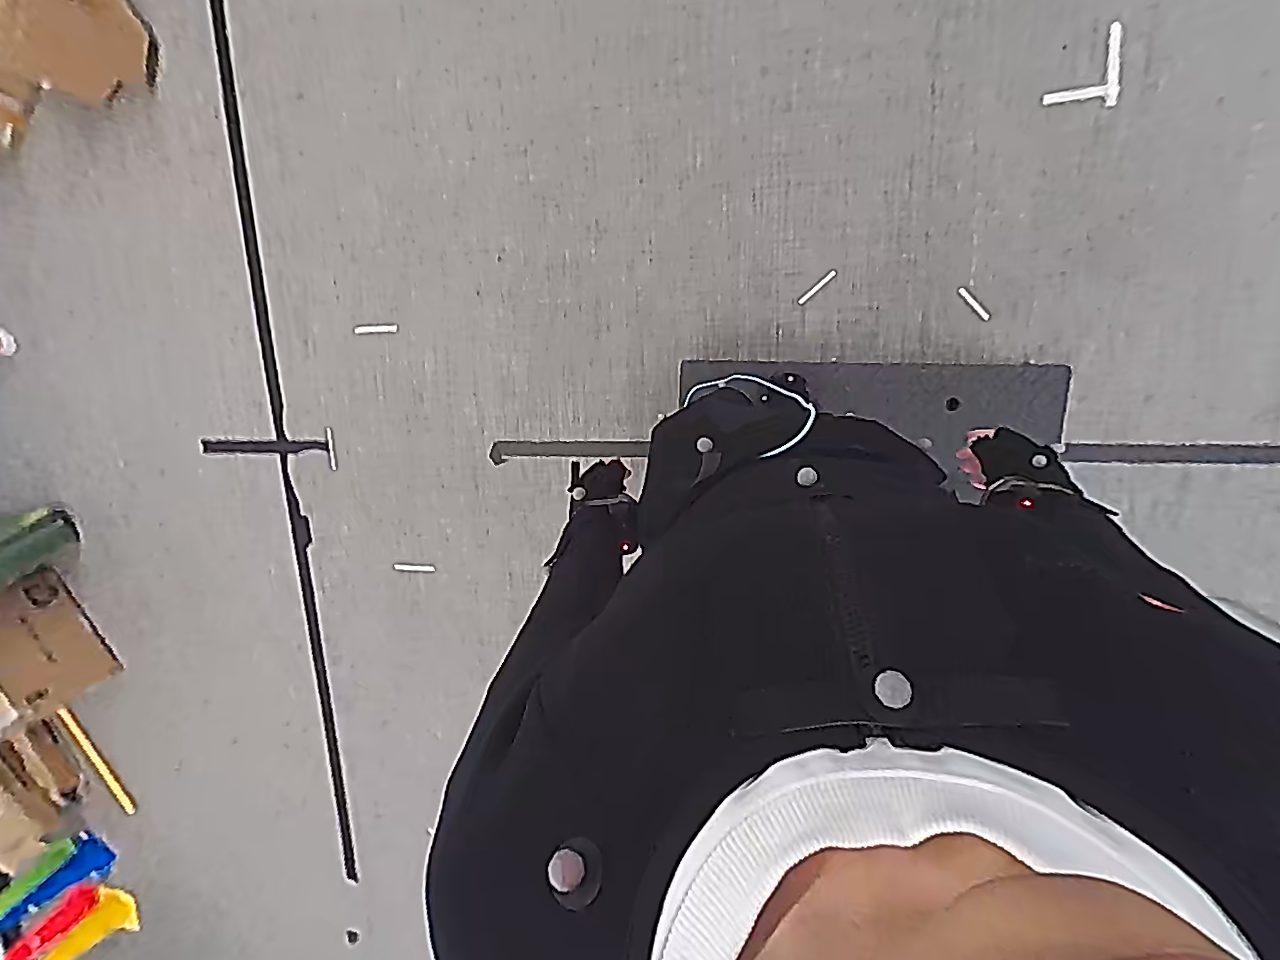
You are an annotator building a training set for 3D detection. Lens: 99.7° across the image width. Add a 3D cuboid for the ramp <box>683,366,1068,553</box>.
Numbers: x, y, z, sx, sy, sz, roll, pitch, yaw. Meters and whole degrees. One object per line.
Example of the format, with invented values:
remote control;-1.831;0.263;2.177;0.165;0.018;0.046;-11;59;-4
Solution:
ramp;0.613;-0.049;1.439;0.991;0.206;0.509;-1;98;11
